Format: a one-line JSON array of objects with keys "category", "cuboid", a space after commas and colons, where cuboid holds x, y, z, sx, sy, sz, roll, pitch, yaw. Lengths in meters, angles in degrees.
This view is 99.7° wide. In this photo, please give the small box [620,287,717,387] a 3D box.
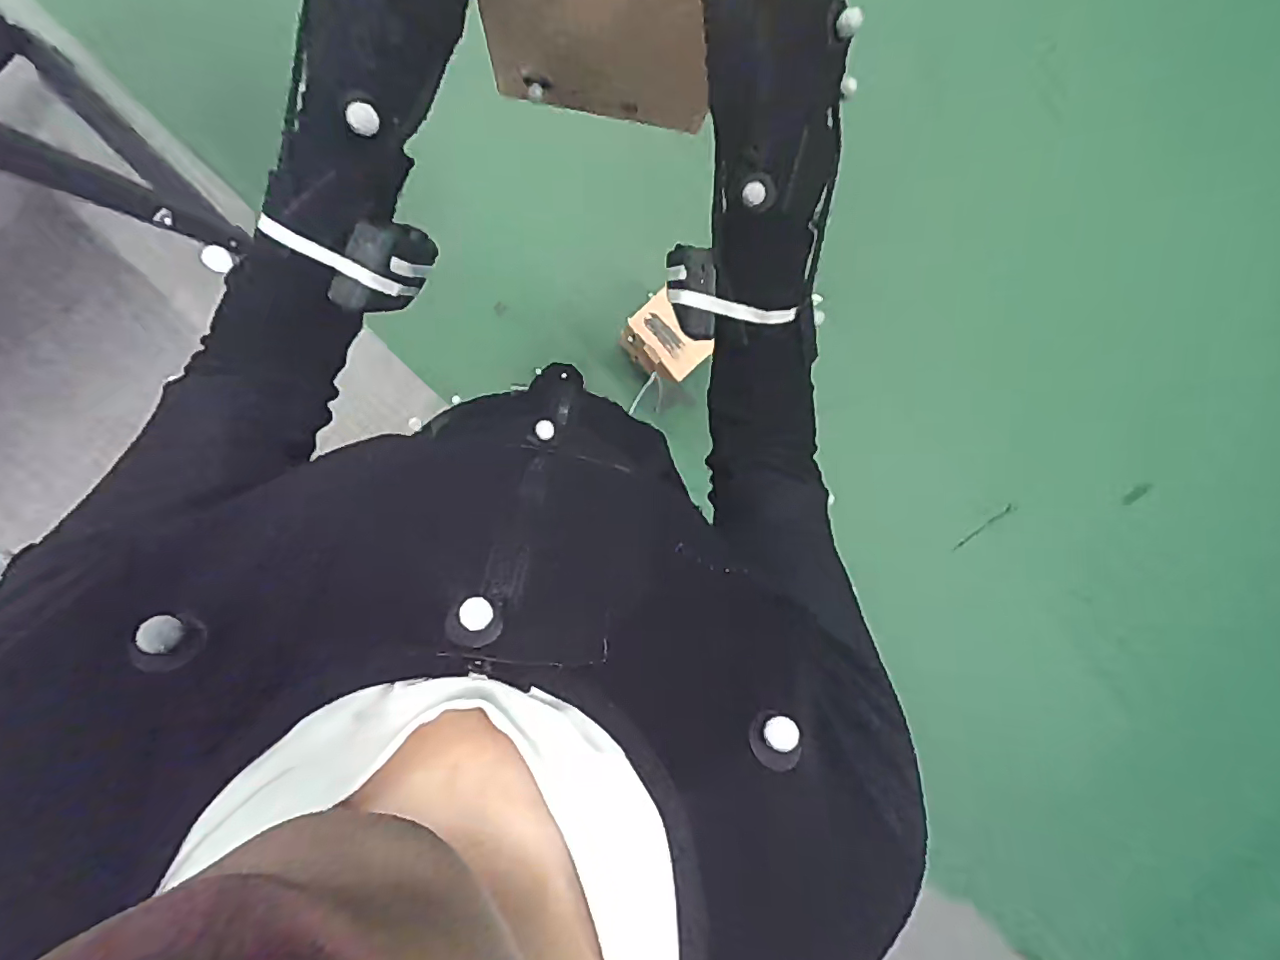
[{"category": "small box", "cuboid": [0.063, -0.353, 1.361, 0.179, 0.176, 0.168, -42, 100, 3]}]

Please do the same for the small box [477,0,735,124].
[{"category": "small box", "cuboid": [-0.017, -0.378, 0.358, 0.168, 0.176, 0.179, 5, 94, -7]}]
